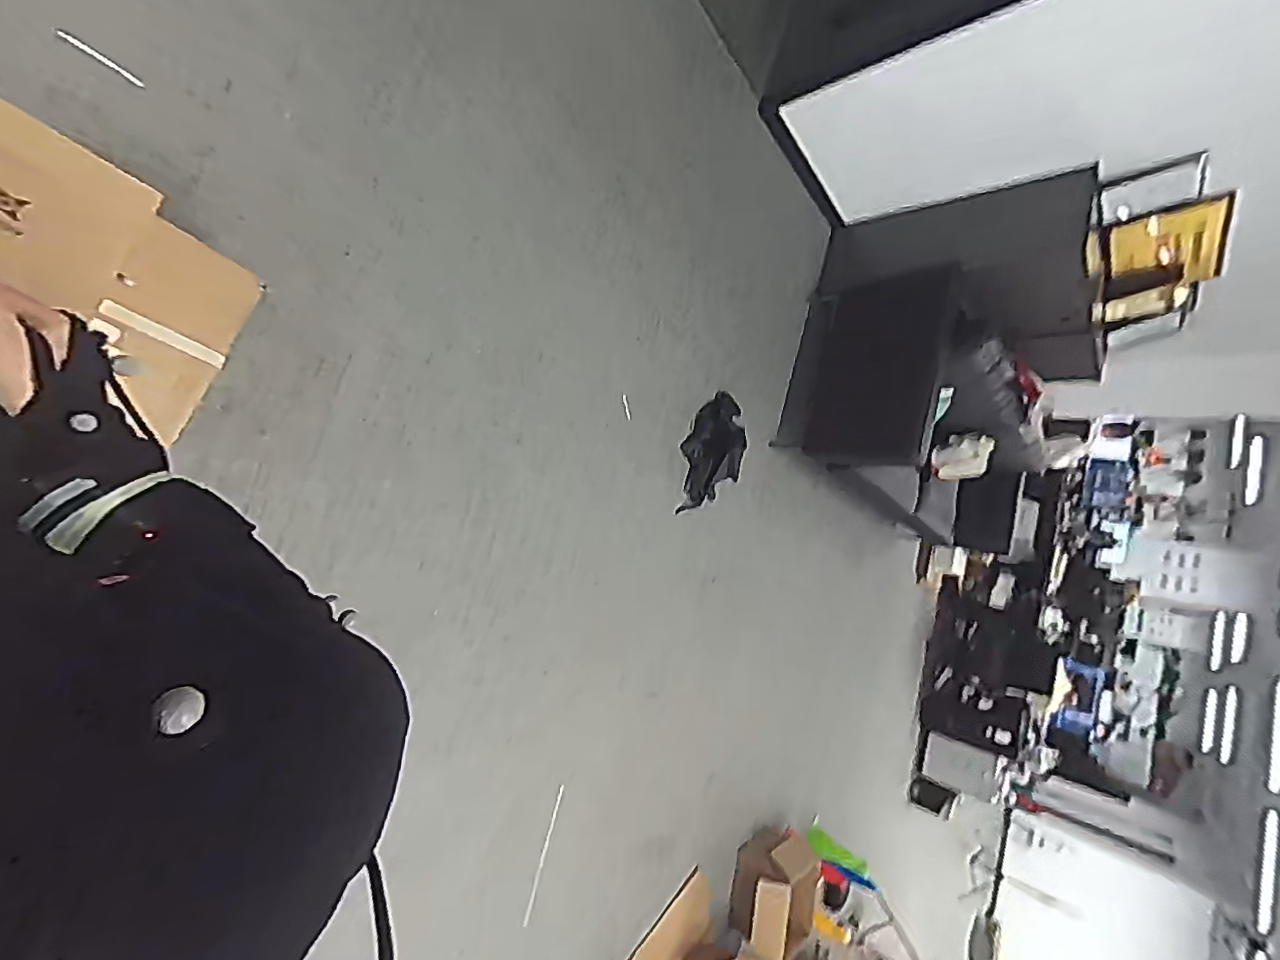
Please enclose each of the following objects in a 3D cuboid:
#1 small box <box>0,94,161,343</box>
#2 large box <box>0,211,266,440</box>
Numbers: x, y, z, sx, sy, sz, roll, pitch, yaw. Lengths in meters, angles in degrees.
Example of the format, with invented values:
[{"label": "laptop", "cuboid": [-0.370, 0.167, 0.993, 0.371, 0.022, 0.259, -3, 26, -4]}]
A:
[{"label": "small box", "cuboid": [-0.624, -0.253, 0.534, 0.168, 0.176, 0.179, 31, 72, -47]}, {"label": "large box", "cuboid": [-0.901, -0.288, 0.828, 0.408, 0.320, 0.320, 34, 72, -45]}]
